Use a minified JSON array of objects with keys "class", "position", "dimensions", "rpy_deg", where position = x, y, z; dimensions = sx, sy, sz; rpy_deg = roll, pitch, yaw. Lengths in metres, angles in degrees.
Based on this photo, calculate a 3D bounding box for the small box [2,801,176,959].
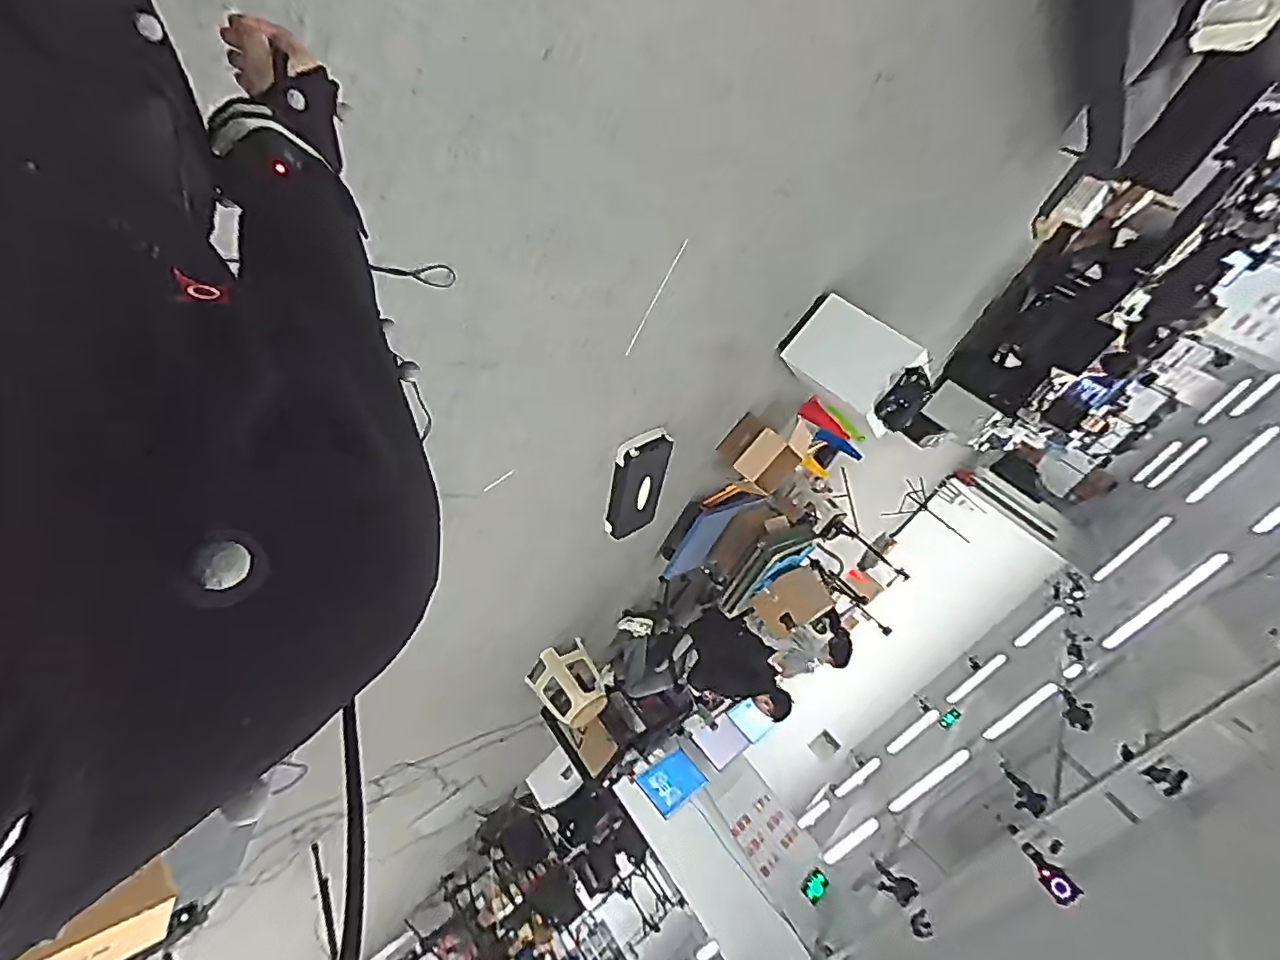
[{"class":"small box","position":[-0.889,0.664,0.873],"dimensions":[0.179,0.176,0.168],"rpy_deg":[-2,132,-51]}]
